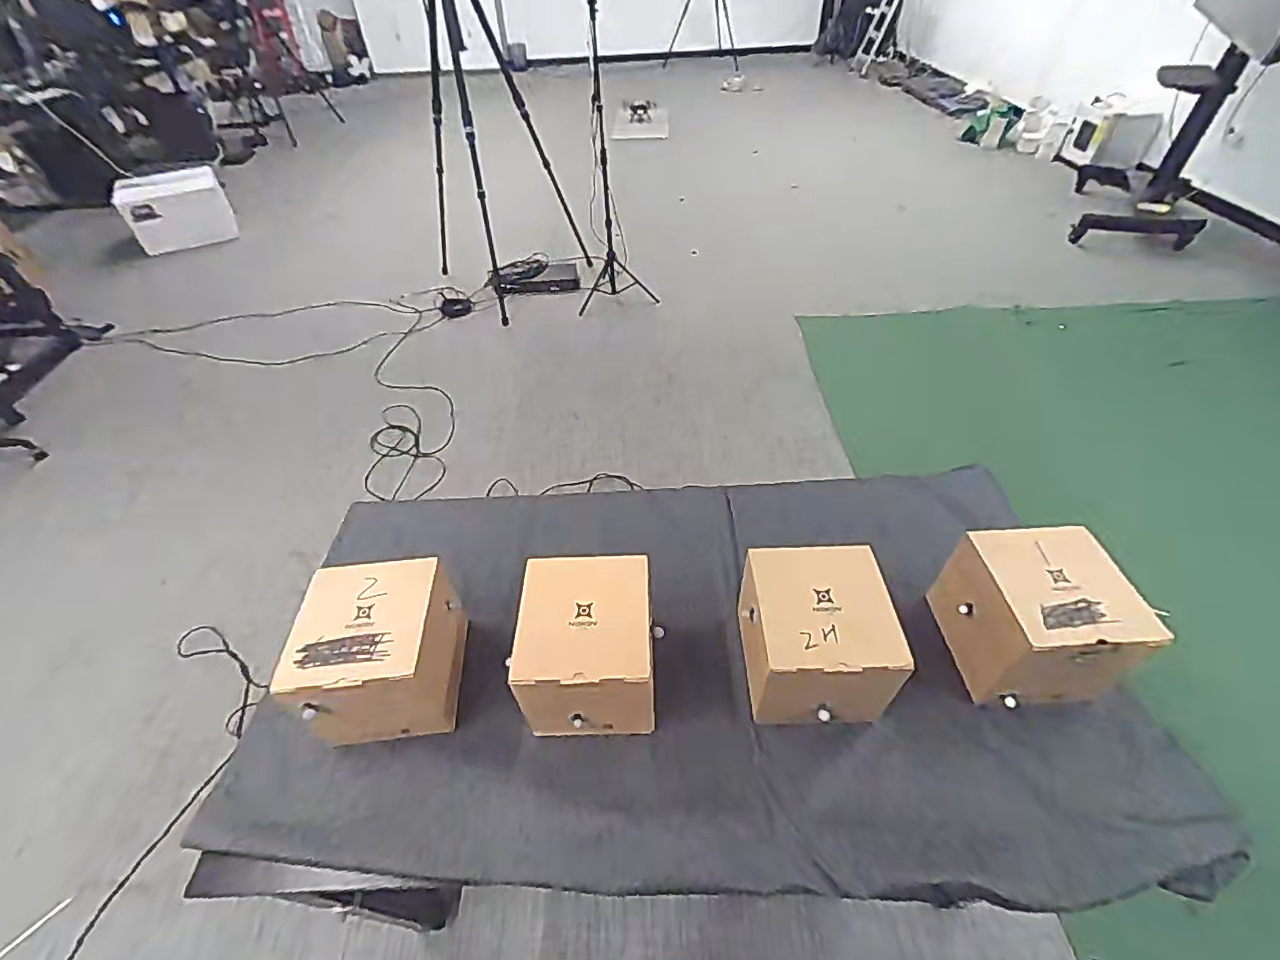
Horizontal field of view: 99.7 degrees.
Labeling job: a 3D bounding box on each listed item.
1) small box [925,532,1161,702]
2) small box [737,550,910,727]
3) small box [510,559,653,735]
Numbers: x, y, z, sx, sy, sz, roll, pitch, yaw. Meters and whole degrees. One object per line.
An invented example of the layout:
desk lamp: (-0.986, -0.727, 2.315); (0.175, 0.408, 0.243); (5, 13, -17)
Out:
small box: (0.528, 0.193, 0.743); (0.168, 0.176, 0.179); (-2, 45, 0)
small box: (0.229, 0.214, 0.733); (0.168, 0.176, 0.179); (-1, 46, 1)
small box: (-0.069, 0.226, 0.732); (0.168, 0.176, 0.179); (-1, 47, 0)
